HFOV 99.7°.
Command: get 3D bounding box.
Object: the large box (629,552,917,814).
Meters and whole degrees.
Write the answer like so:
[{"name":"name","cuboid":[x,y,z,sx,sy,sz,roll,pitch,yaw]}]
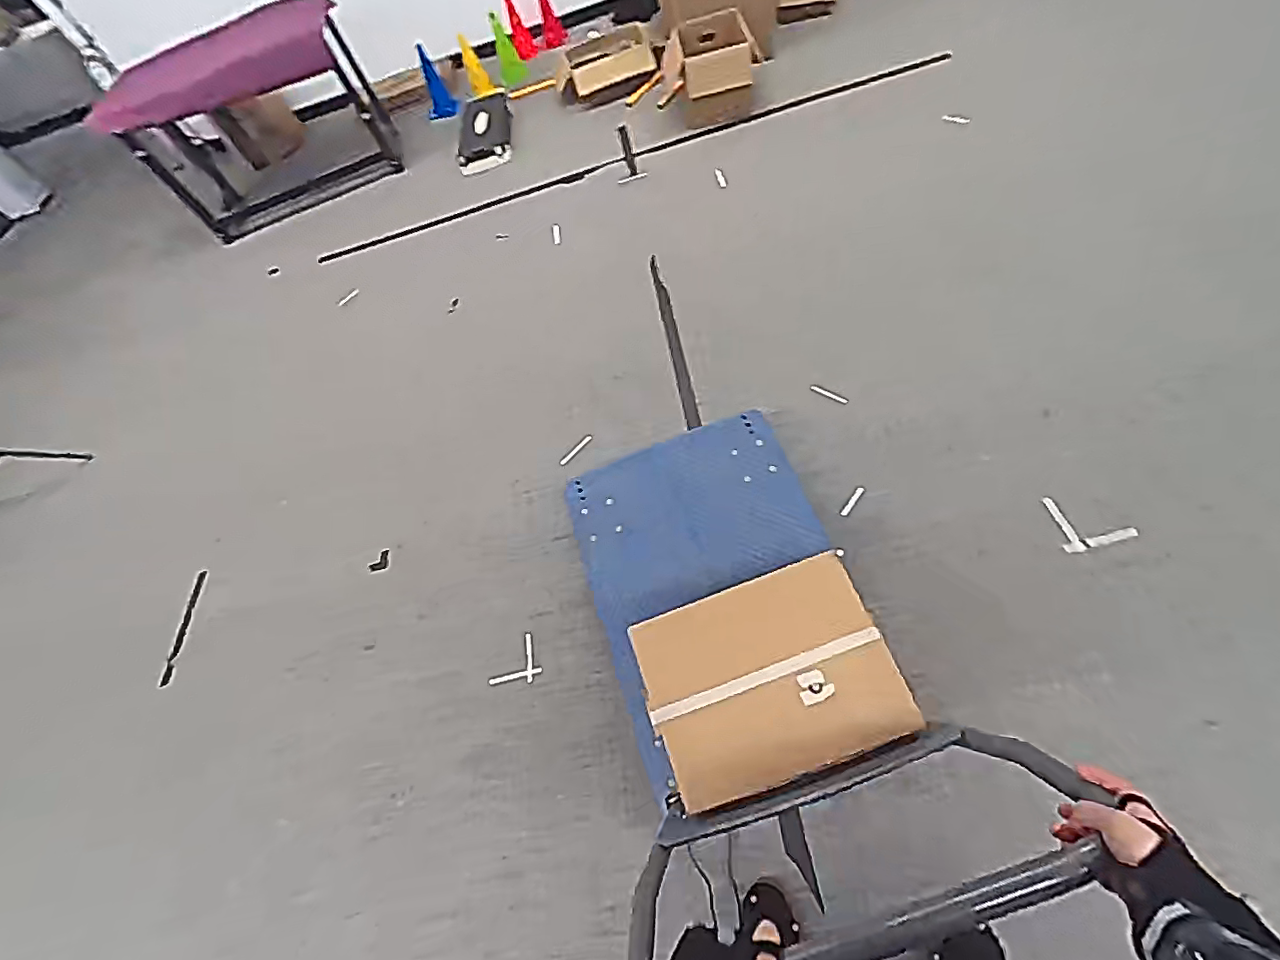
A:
[{"name":"large box","cuboid":[0.234,0.390,1.062,0.408,0.320,0.320,-22,67,0]}]
